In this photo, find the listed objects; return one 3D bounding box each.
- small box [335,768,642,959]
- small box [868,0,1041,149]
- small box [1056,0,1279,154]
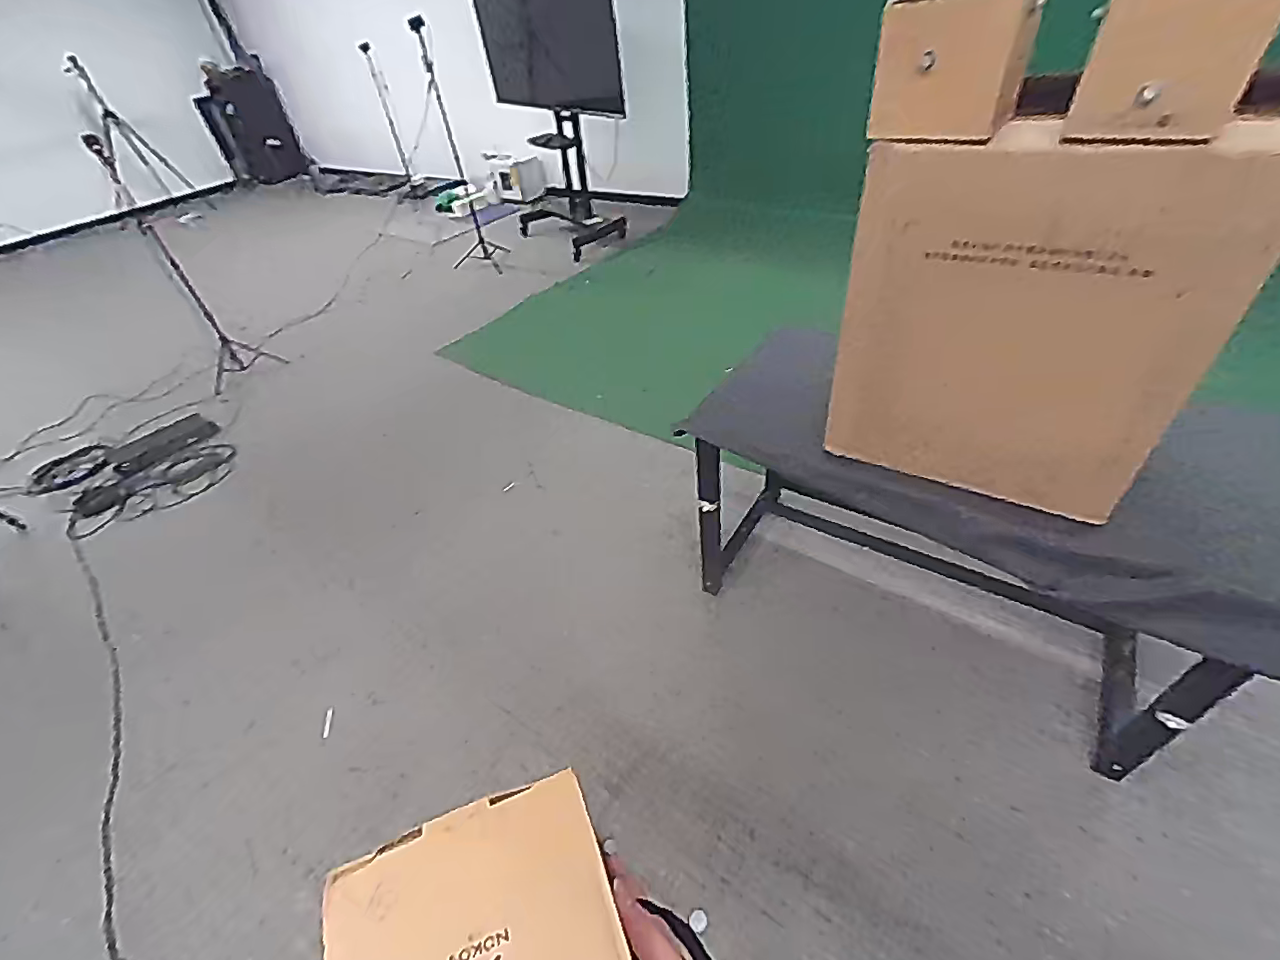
[{"bbox_3d":[-0.087,0.336,0.365,0.168,0.176,0.179,-16,51,-16],"label":"small box"},{"bbox_3d":[0.466,-0.614,0.819,0.179,0.176,0.168,22,50,31],"label":"small box"},{"bbox_3d":[0.678,-0.546,0.707,0.168,0.176,0.179,20,50,27],"label":"small box"}]
